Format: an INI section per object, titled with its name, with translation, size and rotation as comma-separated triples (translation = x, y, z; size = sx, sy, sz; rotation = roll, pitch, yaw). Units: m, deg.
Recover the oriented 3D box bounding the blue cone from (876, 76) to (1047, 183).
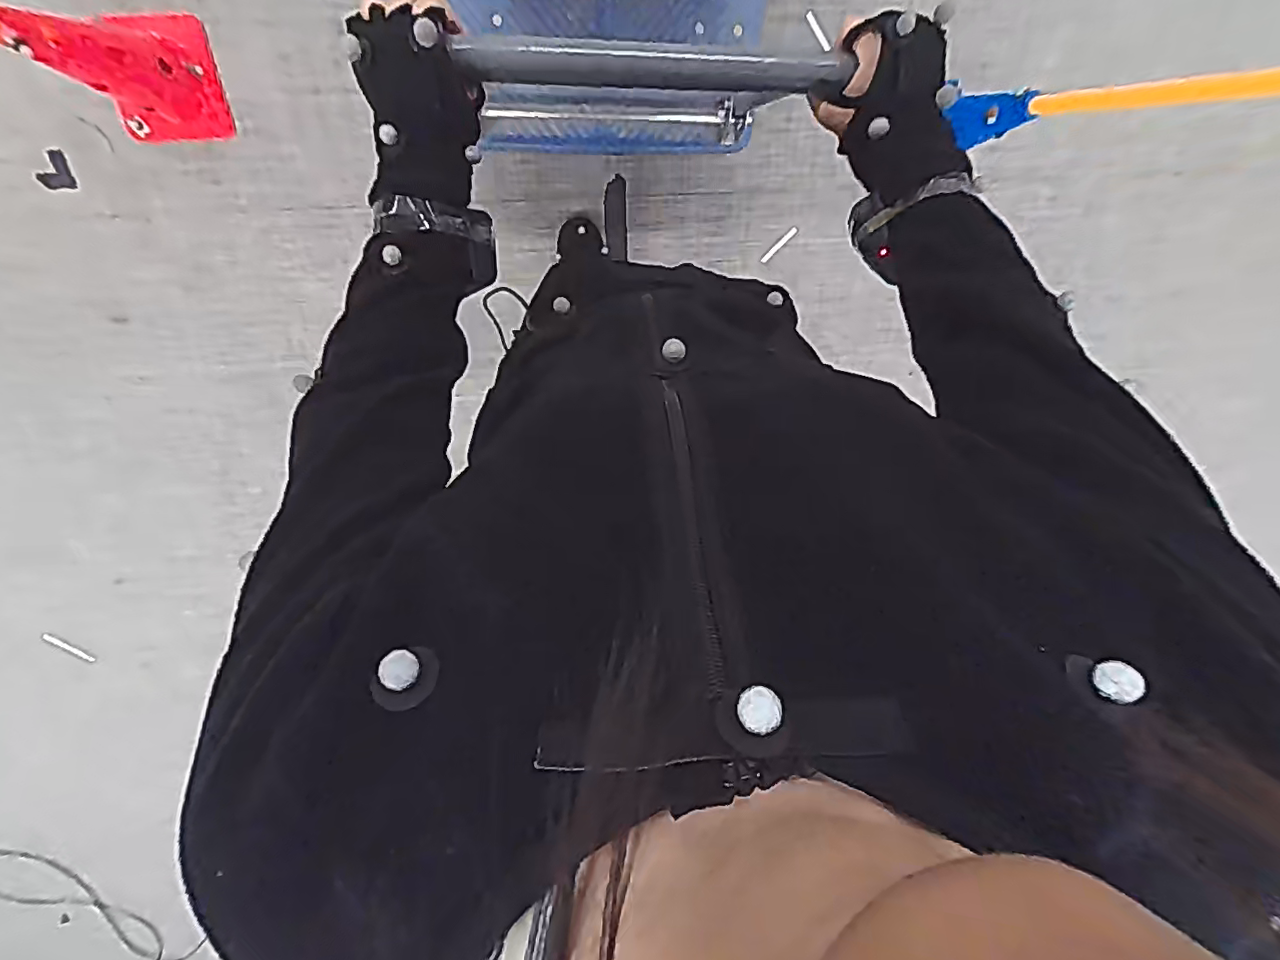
[blue cone]
translation = 0.643, -0.717, 1.072
size = 0.193, 0.380, 0.192
rotation = -8, 115, -3
